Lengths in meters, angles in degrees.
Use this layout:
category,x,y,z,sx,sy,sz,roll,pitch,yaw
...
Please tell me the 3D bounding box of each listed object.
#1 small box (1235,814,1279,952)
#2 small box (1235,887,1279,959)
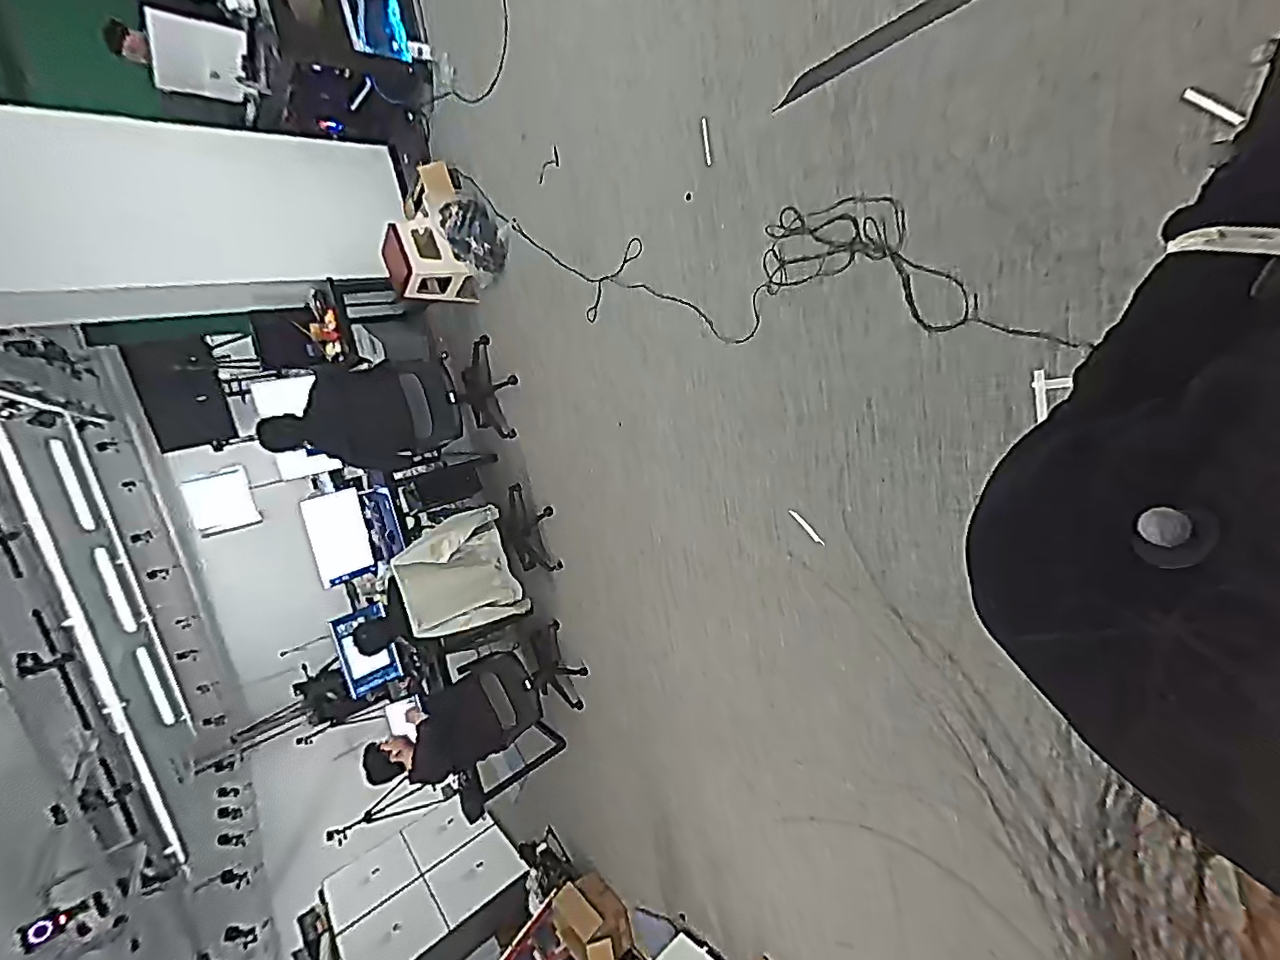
category,x,y,z,sx,sy,sz,roll,pitch,yaw
small box,1.050,0.669,0.833,0.168,0.176,0.179,7,110,50
small box,0.930,0.717,0.731,0.168,0.176,0.179,6,111,50
